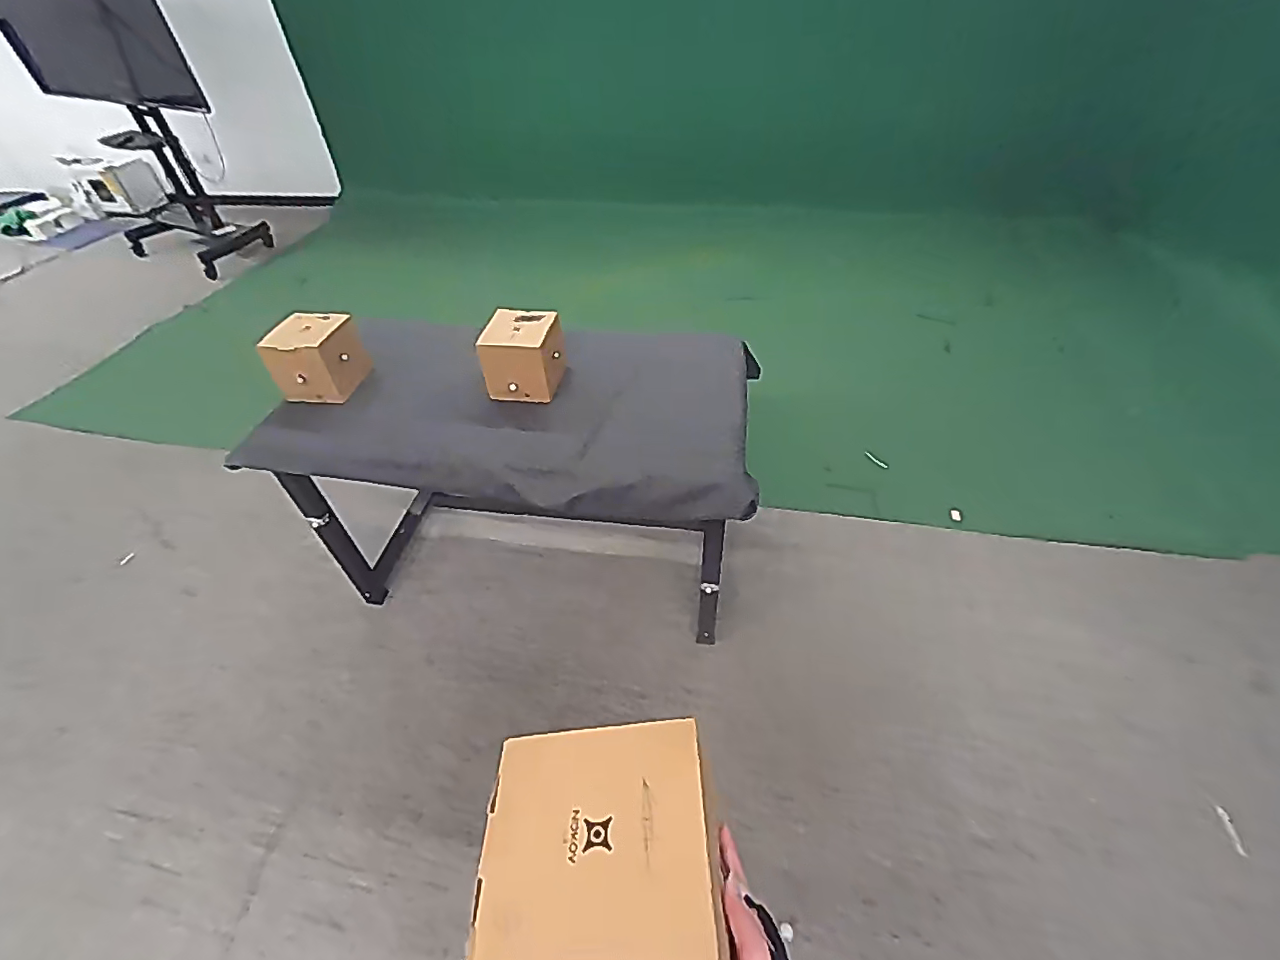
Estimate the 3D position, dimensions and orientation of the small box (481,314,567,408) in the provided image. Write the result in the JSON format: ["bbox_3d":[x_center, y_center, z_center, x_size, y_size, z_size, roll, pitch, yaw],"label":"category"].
[{"bbox_3d":[-0.294,-0.314,1.421,0.168,0.176,0.179,5,46,7],"label":"small box"}]

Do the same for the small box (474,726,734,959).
[{"bbox_3d":[-0.018,0.341,0.473,0.179,0.176,0.168,-8,40,5],"label":"small box"}]

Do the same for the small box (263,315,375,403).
[{"bbox_3d":[-0.846,-0.322,1.448,0.168,0.176,0.179,4,45,5],"label":"small box"}]
